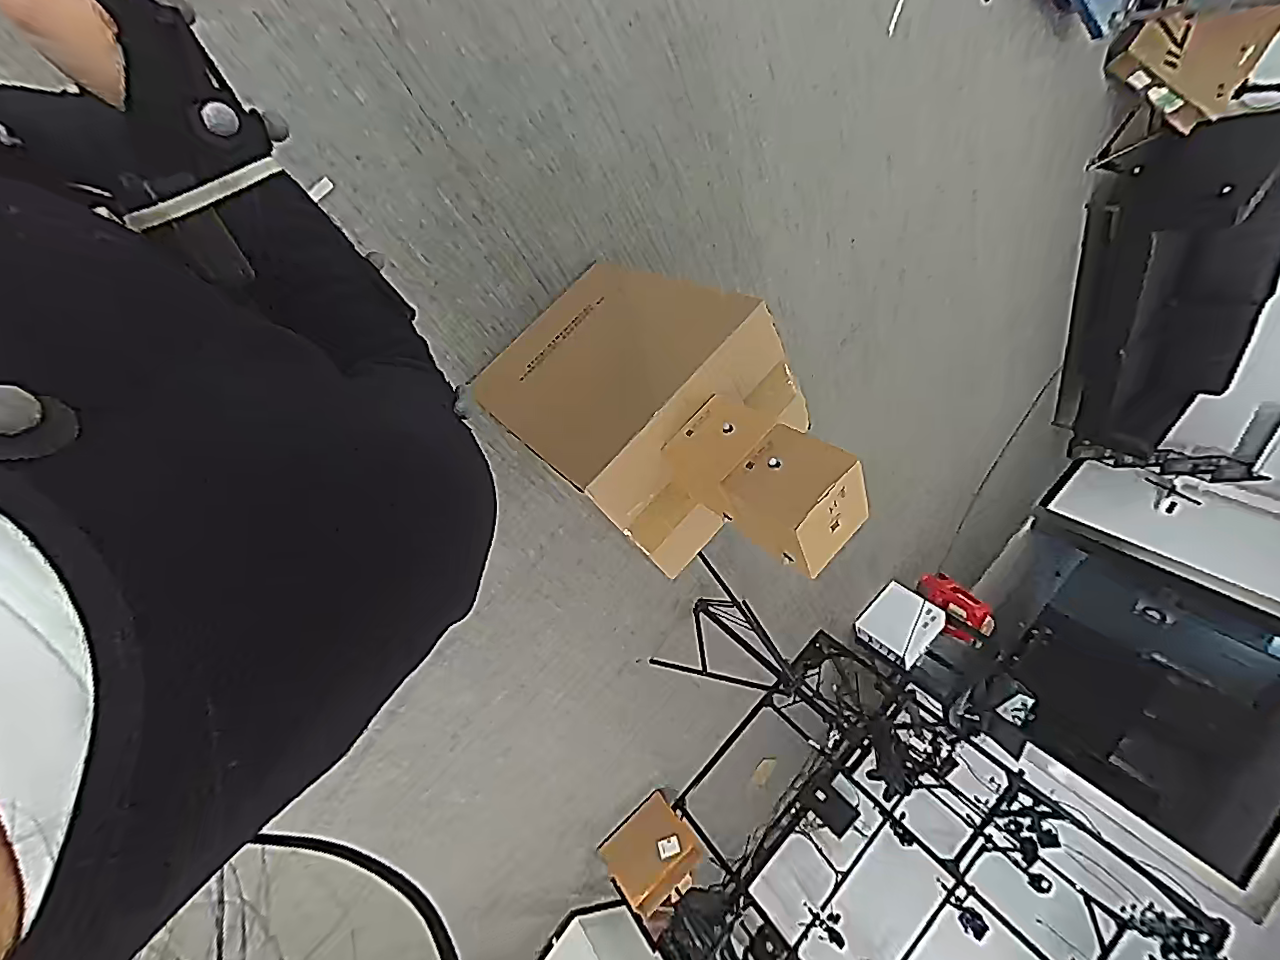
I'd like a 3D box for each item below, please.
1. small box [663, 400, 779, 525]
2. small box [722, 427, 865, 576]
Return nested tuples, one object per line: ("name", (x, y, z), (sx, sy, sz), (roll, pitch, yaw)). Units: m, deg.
("small box", (0.174, -0.040, 1.079), (0.168, 0.176, 0.179), (-46, 137, -11))
("small box", (0.276, 0.033, 0.971), (0.168, 0.176, 0.179), (-45, 136, -13))
